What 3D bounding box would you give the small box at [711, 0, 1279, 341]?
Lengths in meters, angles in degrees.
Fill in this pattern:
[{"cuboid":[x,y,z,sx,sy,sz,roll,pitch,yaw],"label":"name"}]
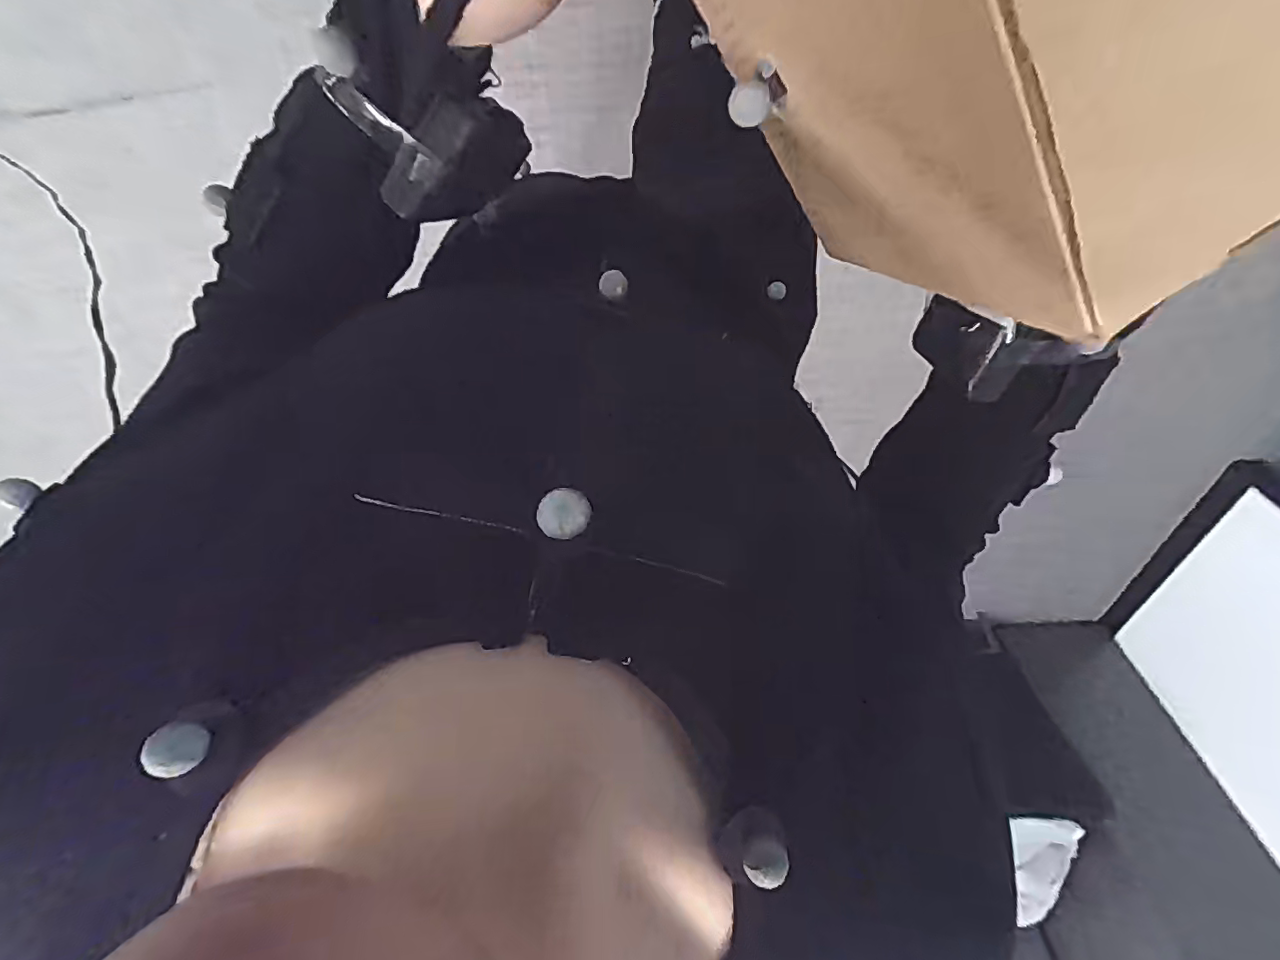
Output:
[{"cuboid":[0.124,-0.177,0.155,0.168,0.176,0.179,-35,118,13],"label":"small box"}]
